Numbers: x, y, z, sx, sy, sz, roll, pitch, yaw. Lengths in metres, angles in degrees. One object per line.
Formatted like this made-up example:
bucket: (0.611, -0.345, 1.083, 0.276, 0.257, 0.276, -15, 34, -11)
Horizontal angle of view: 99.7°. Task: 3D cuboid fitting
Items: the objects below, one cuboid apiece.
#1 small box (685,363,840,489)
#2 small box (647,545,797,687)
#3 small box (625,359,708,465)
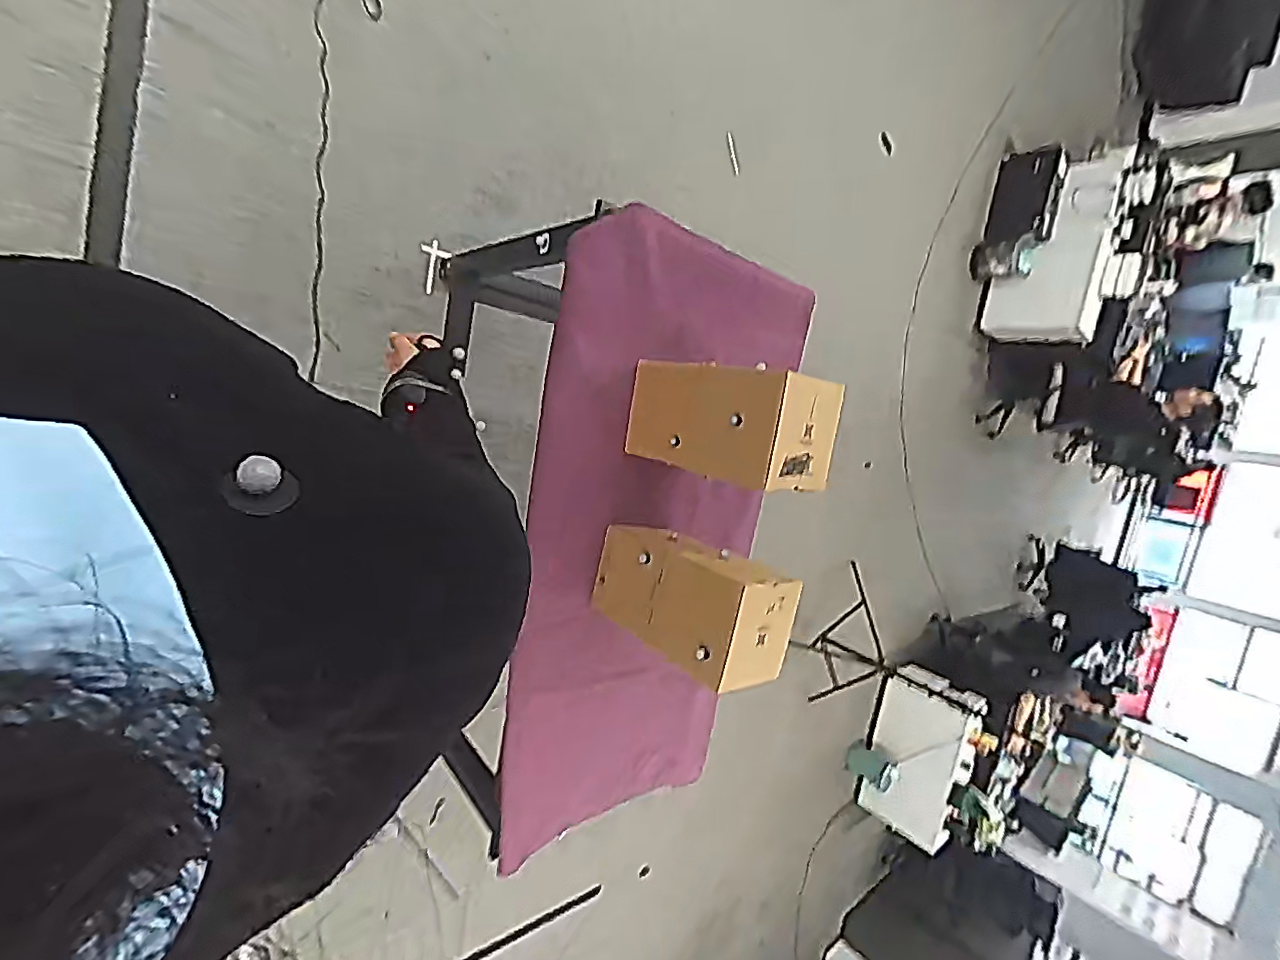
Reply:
small box: (0.194, -0.089, 0.884, 0.168, 0.176, 0.179, 1, 102, -42)
small box: (0.134, 0.220, 0.916, 0.168, 0.176, 0.179, 8, 96, -44)
small box: (0.090, -0.126, 1.007, 0.168, 0.176, 0.179, 1, 102, -42)
